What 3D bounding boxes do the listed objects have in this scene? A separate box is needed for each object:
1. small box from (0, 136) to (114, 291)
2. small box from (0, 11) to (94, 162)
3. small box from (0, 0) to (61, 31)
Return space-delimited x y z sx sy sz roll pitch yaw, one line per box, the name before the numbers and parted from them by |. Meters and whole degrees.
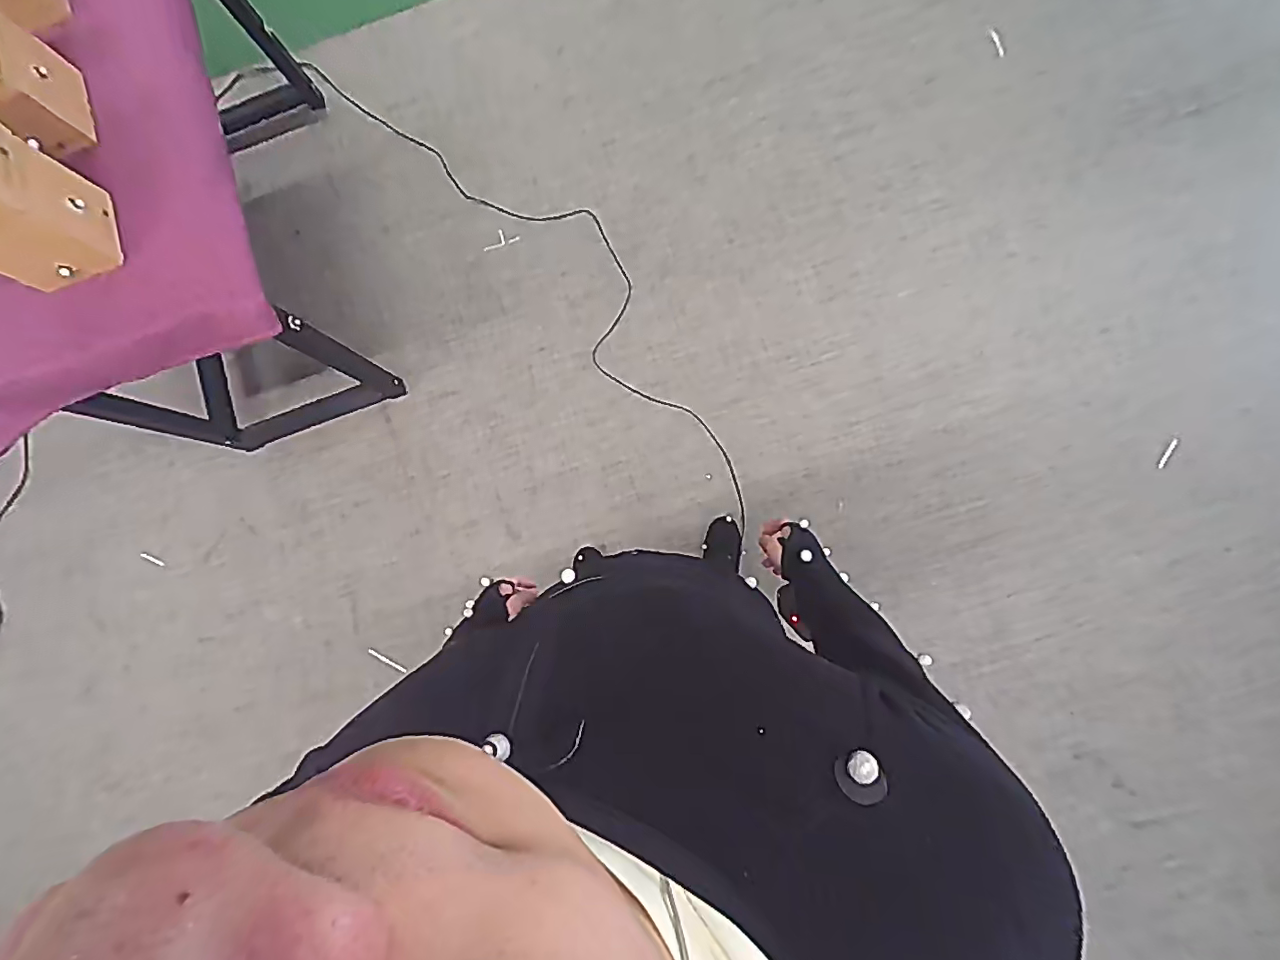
small box | -1.145 -0.488 1.013 0.179 0.176 0.168 -20 81 1
small box | -1.237 -0.761 1.054 0.168 0.176 0.179 -20 83 2
small box | -1.342 -1.061 1.099 0.179 0.176 0.168 -19 82 2
